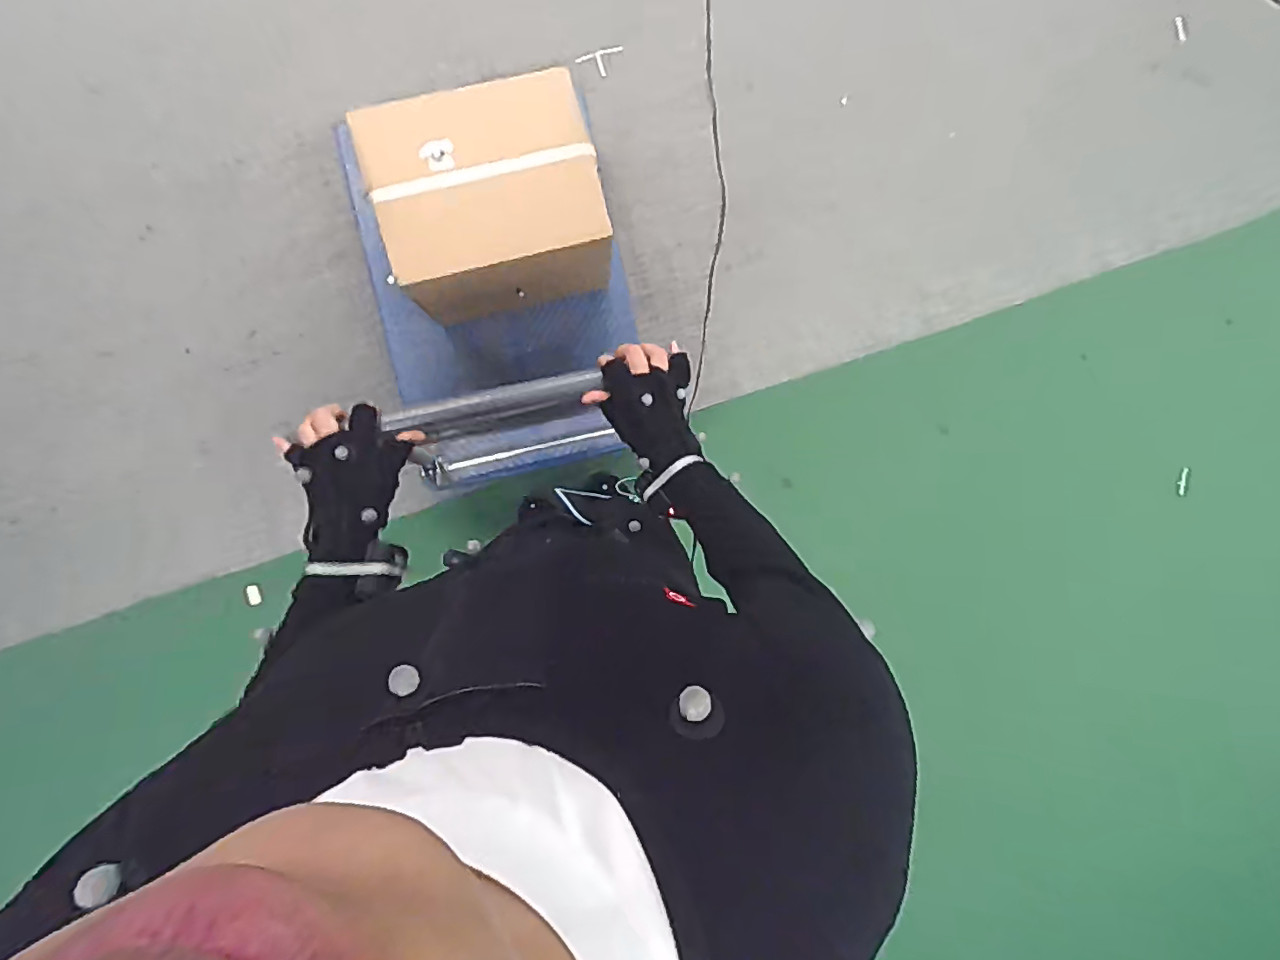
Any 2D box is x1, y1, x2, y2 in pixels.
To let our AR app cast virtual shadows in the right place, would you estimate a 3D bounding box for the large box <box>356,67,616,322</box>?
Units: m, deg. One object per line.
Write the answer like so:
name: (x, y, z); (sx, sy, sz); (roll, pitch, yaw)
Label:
large box: (-0.285, -0.556, 1.122); (0.408, 0.320, 0.320); (-15, 92, -4)
